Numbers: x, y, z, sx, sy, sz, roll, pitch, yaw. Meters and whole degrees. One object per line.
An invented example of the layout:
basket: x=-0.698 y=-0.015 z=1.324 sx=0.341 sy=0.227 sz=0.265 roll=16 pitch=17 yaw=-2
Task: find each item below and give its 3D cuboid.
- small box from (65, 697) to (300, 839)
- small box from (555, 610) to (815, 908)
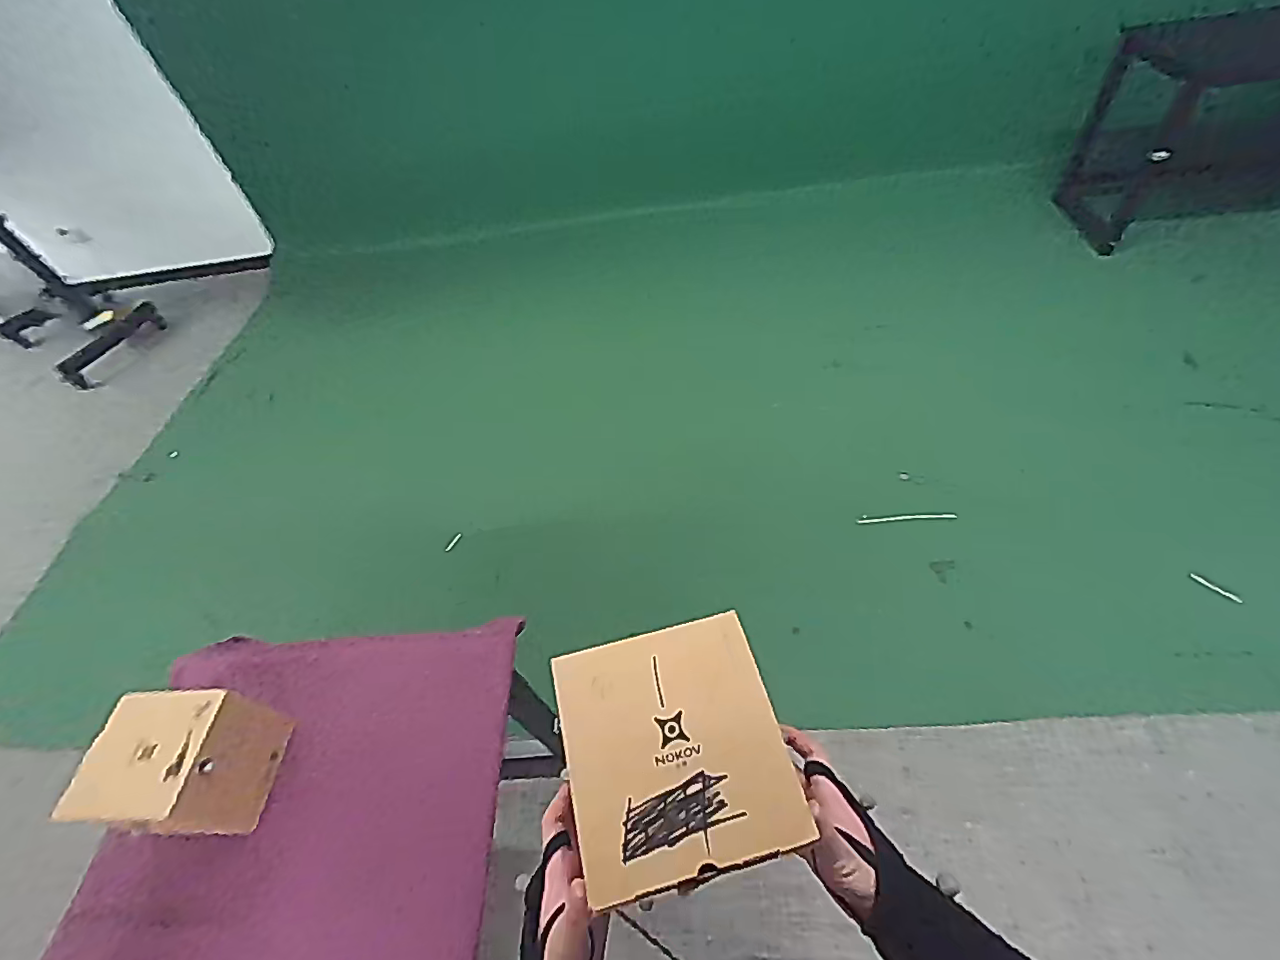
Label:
small box: x=-0.677 y=0.443 z=0.827 sx=0.179 sy=0.176 sz=0.168 roll=-6 pitch=52 yaw=7
small box: x=0.031 y=0.243 z=0.479 sx=0.168 sy=0.176 sz=0.179 roll=-13 pitch=55 yaw=-5
